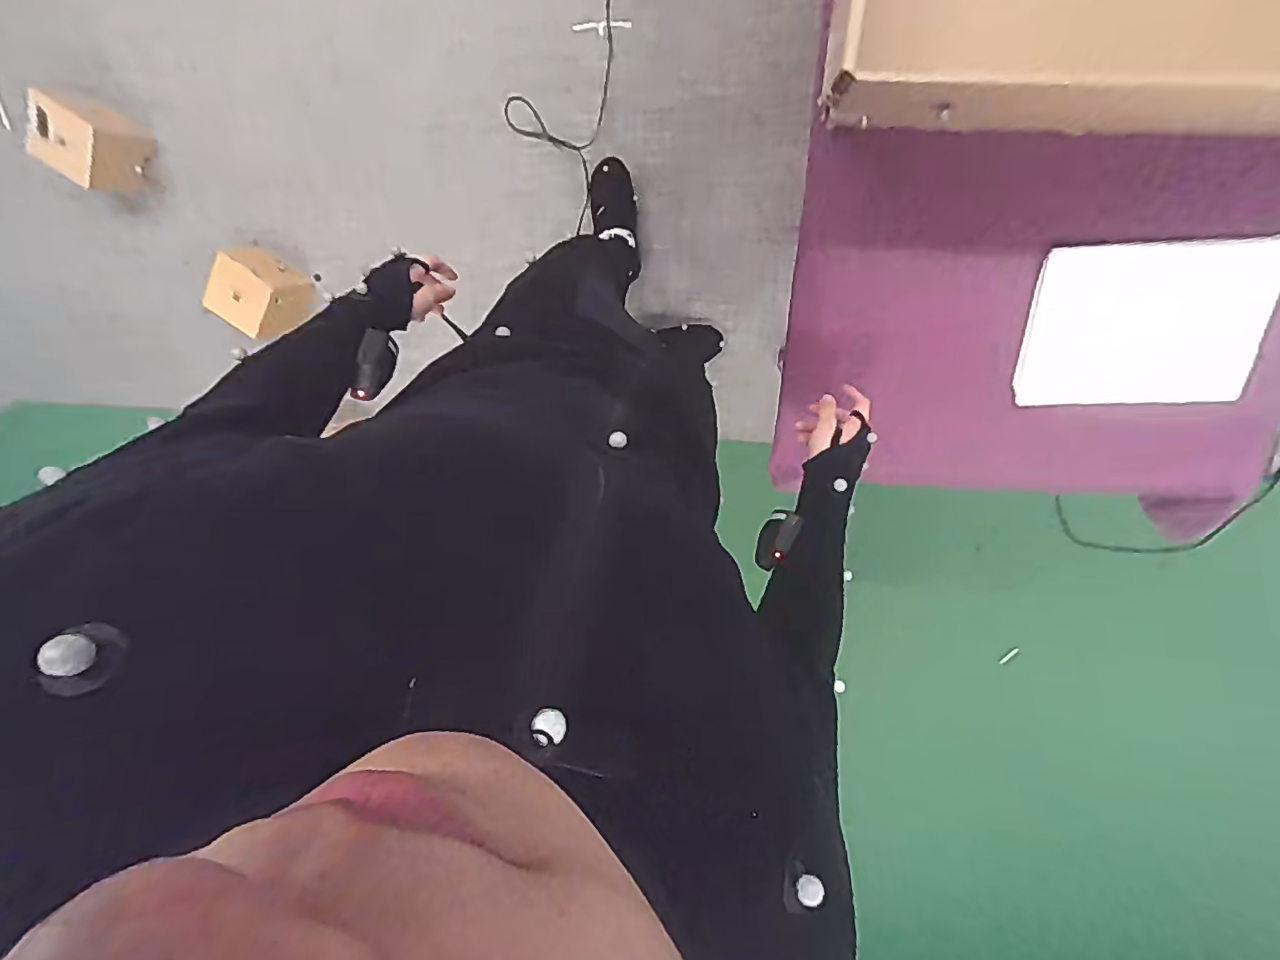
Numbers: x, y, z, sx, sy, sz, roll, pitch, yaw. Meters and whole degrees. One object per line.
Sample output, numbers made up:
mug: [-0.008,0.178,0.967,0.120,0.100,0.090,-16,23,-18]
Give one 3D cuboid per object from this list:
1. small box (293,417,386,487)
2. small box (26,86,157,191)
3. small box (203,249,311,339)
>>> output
small box: [-0.942,-0.092,1.719,0.179,0.176,0.168,-6,113,12]
small box: [-1.461,-0.899,1.446,0.179,0.176,0.168,33,115,-6]
small box: [-1.087,-0.534,1.548,0.168,0.176,0.179,36,113,-7]
